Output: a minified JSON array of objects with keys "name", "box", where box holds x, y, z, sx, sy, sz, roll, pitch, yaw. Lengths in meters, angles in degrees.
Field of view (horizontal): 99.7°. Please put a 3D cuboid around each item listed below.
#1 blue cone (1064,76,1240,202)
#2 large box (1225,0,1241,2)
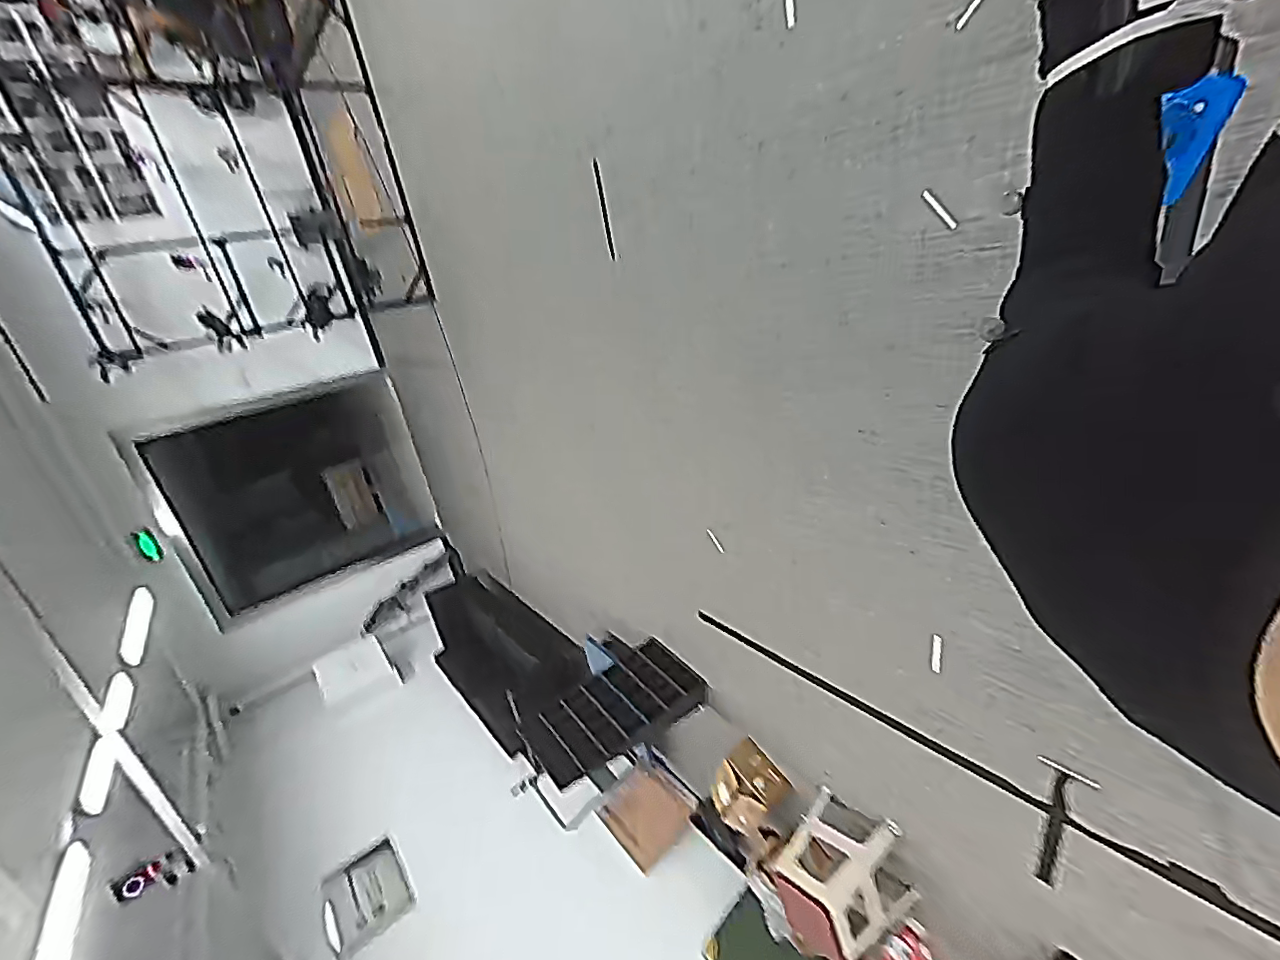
[{"name":"blue cone","box":[0.834,-0.584,0.937,0.193,0.380,0.192,41,142,36]},{"name":"large box","box":[0.520,-0.516,0.233,0.408,0.320,0.320,6,120,52]}]
